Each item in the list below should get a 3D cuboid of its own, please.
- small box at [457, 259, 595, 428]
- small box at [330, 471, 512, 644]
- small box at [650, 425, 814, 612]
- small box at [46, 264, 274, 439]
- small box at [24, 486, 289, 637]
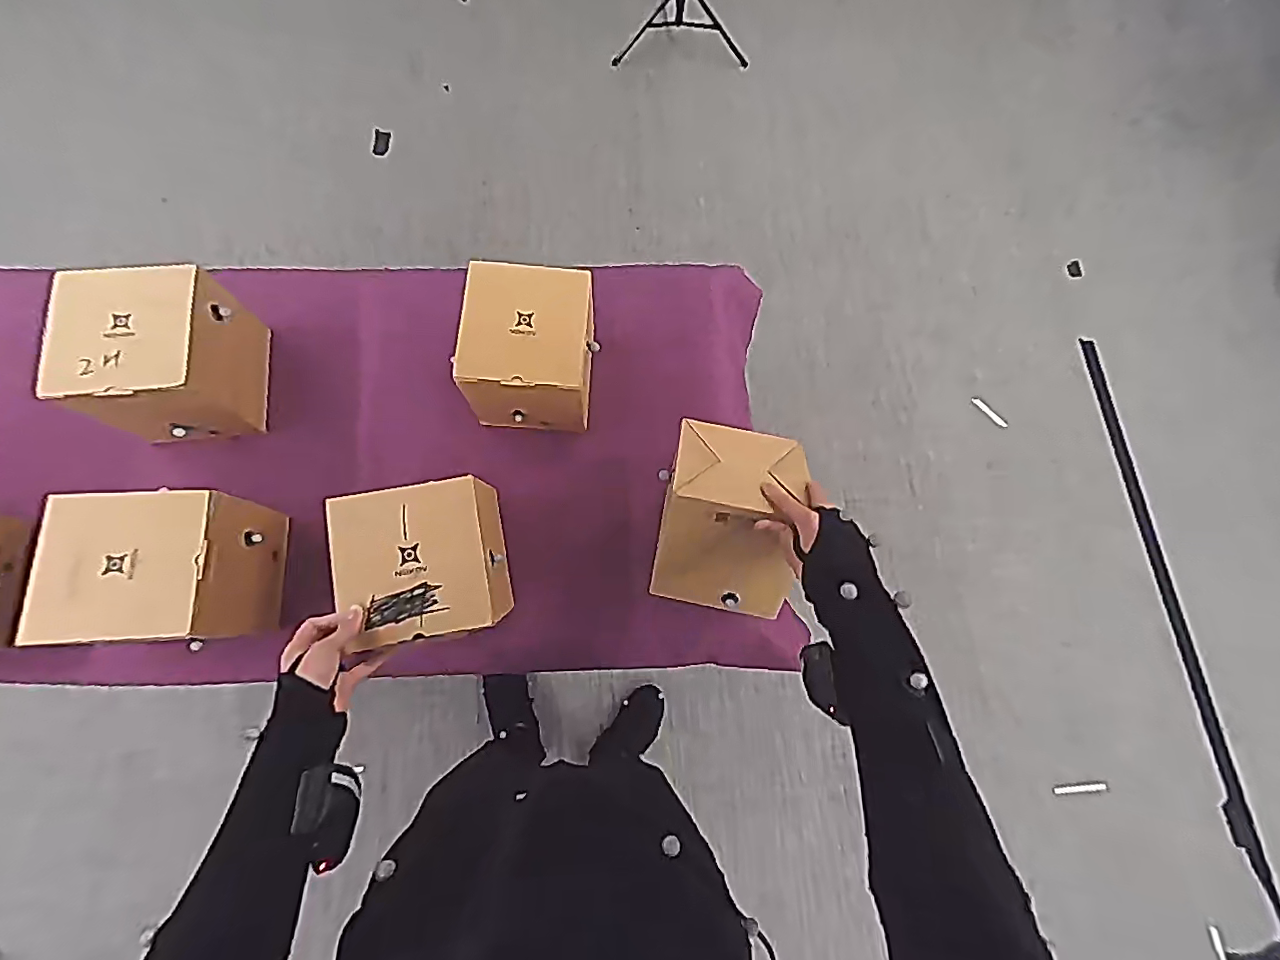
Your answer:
[{"bbox_3d":[-0.155,-0.191,0.793,0.168,0.176,0.179,4,76,-3],"label":"small box"},{"bbox_3d":[-0.265,0.095,0.691,0.168,0.176,0.179,-9,83,-7],"label":"small box"},{"bbox_3d":[0.114,0.038,0.707,0.168,0.176,0.179,11,35,2],"label":"small box"},{"bbox_3d":[-0.641,-0.171,0.750,0.168,0.176,0.179,-5,76,-6],"label":"small box"},{"bbox_3d":[-0.576,0.106,0.677,0.179,0.176,0.168,-2,74,-6],"label":"small box"}]
